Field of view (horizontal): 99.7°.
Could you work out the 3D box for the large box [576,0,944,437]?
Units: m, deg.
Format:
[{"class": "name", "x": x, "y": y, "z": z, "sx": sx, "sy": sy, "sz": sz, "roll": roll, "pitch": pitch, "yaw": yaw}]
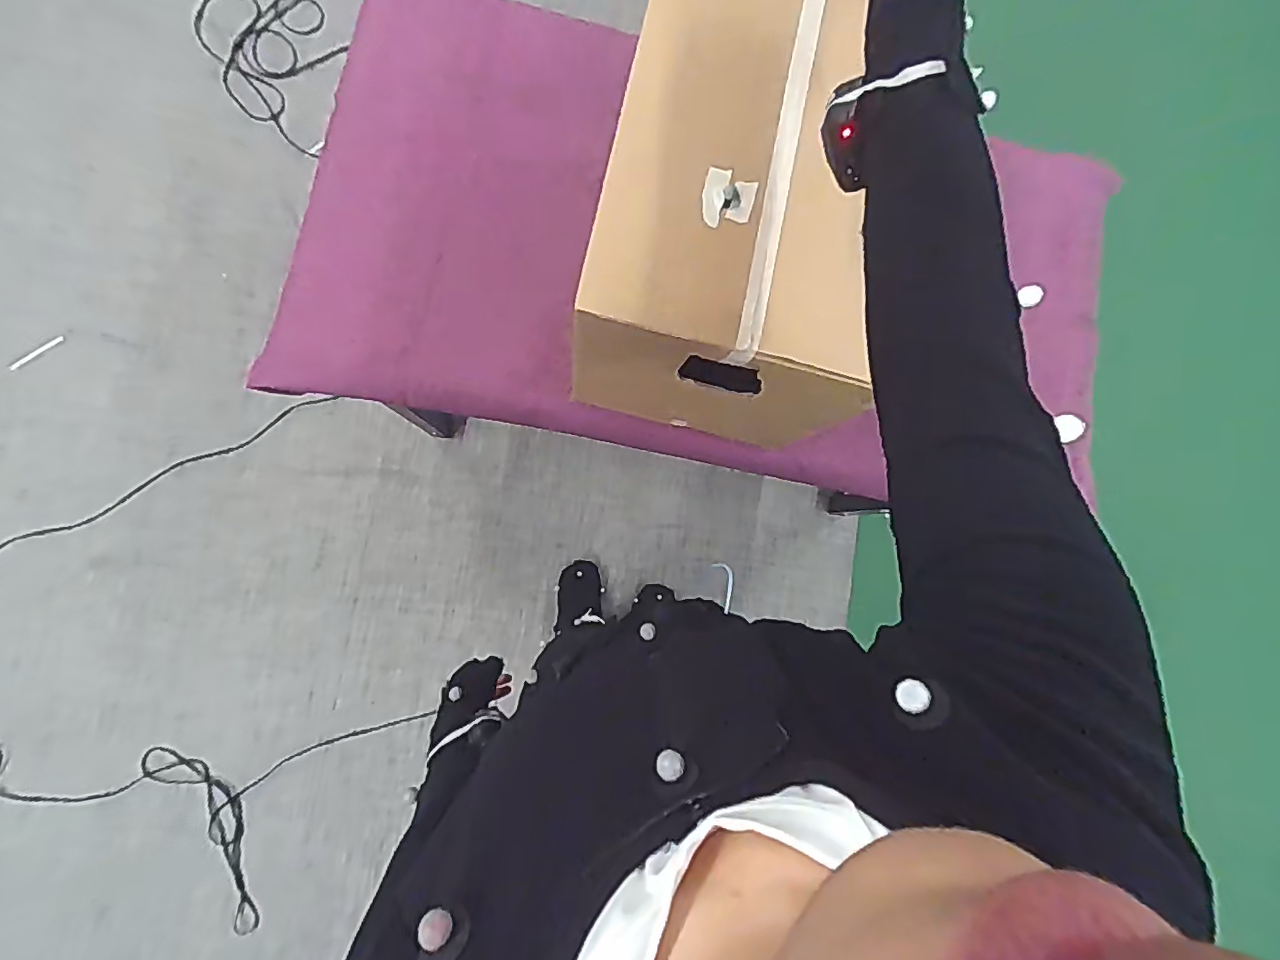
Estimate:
[{"class": "large box", "x": 0.113, "y": -0.300, "z": 0.671, "sx": 0.320, "sy": 0.320, "sz": 0.408, "roll": 13, "pitch": 83, "yaw": -5}]
